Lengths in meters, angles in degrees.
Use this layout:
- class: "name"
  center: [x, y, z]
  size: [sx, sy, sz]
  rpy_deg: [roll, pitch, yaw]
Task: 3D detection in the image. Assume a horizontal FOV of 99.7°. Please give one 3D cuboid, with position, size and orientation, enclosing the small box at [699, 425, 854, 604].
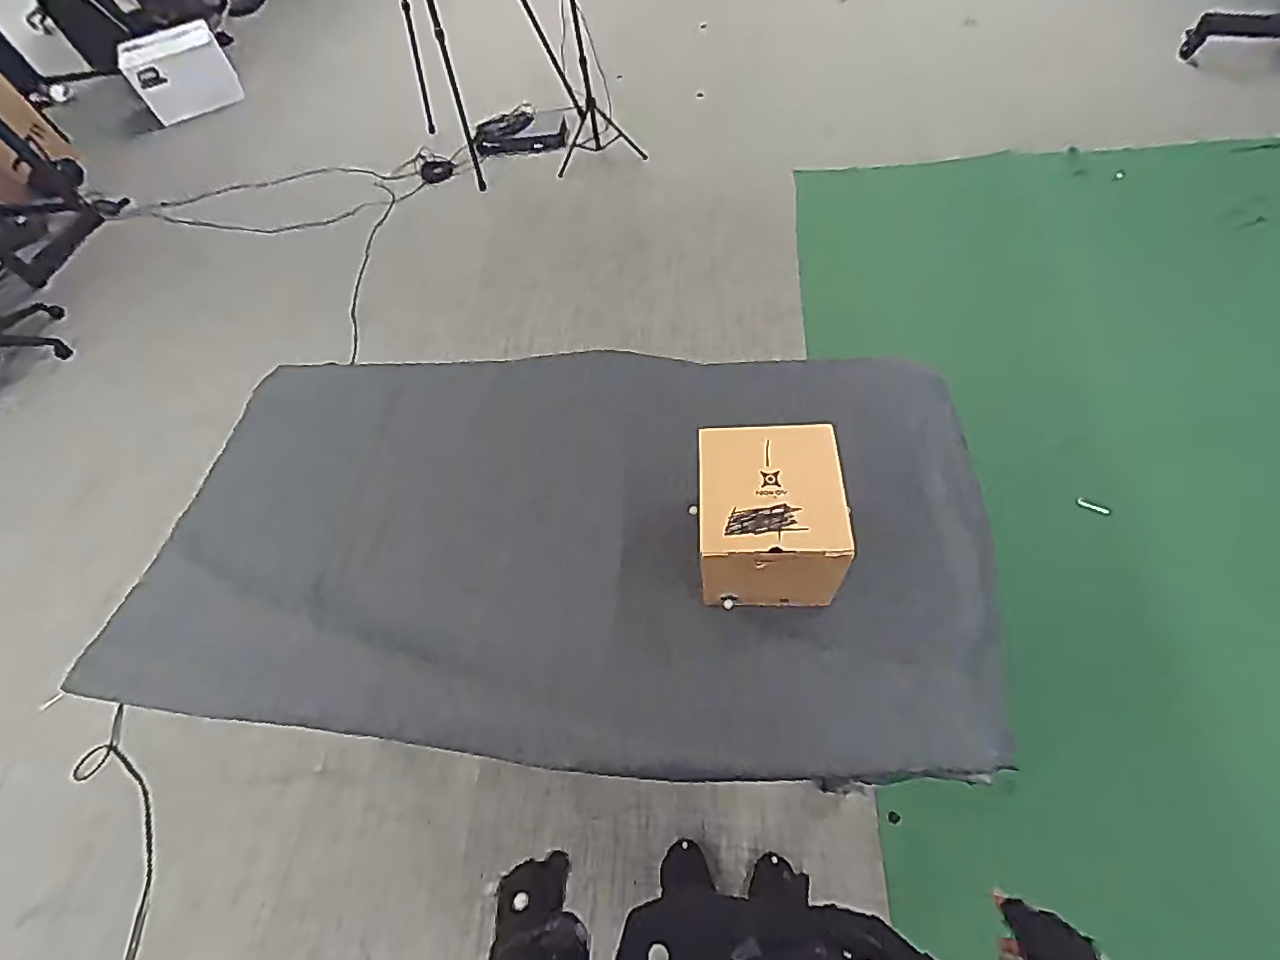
- class: "small box"
  center: [0.161, 0.051, 0.688]
  size: [0.168, 0.176, 0.179]
  rpy_deg: [-1, 57, 8]
